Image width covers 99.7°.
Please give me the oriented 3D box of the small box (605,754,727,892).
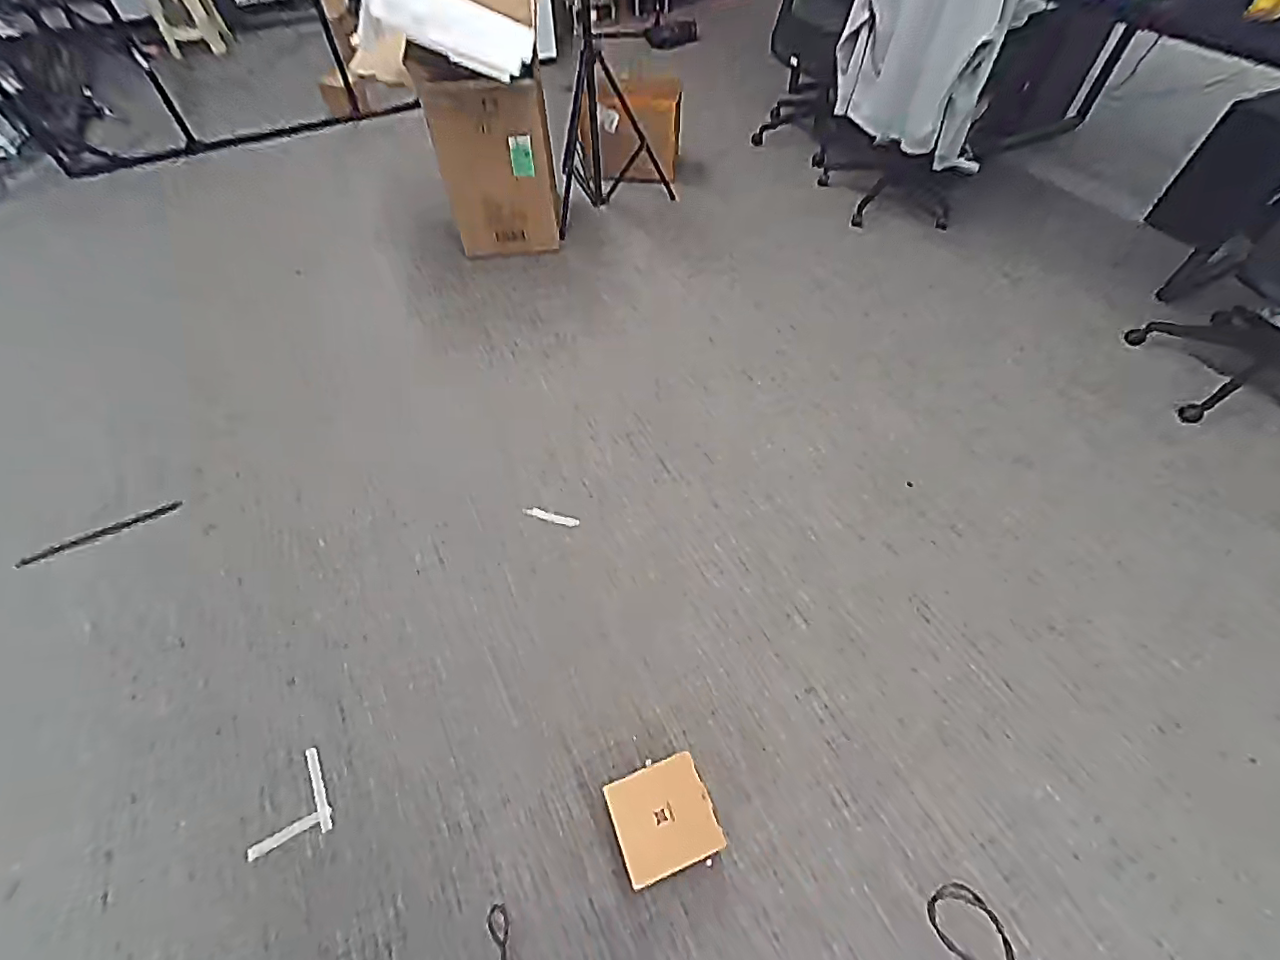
[{"bbox_3d":[0.047,0.651,1.023,0.179,0.176,0.168,-18,55,-12],"label":"small box"}]
